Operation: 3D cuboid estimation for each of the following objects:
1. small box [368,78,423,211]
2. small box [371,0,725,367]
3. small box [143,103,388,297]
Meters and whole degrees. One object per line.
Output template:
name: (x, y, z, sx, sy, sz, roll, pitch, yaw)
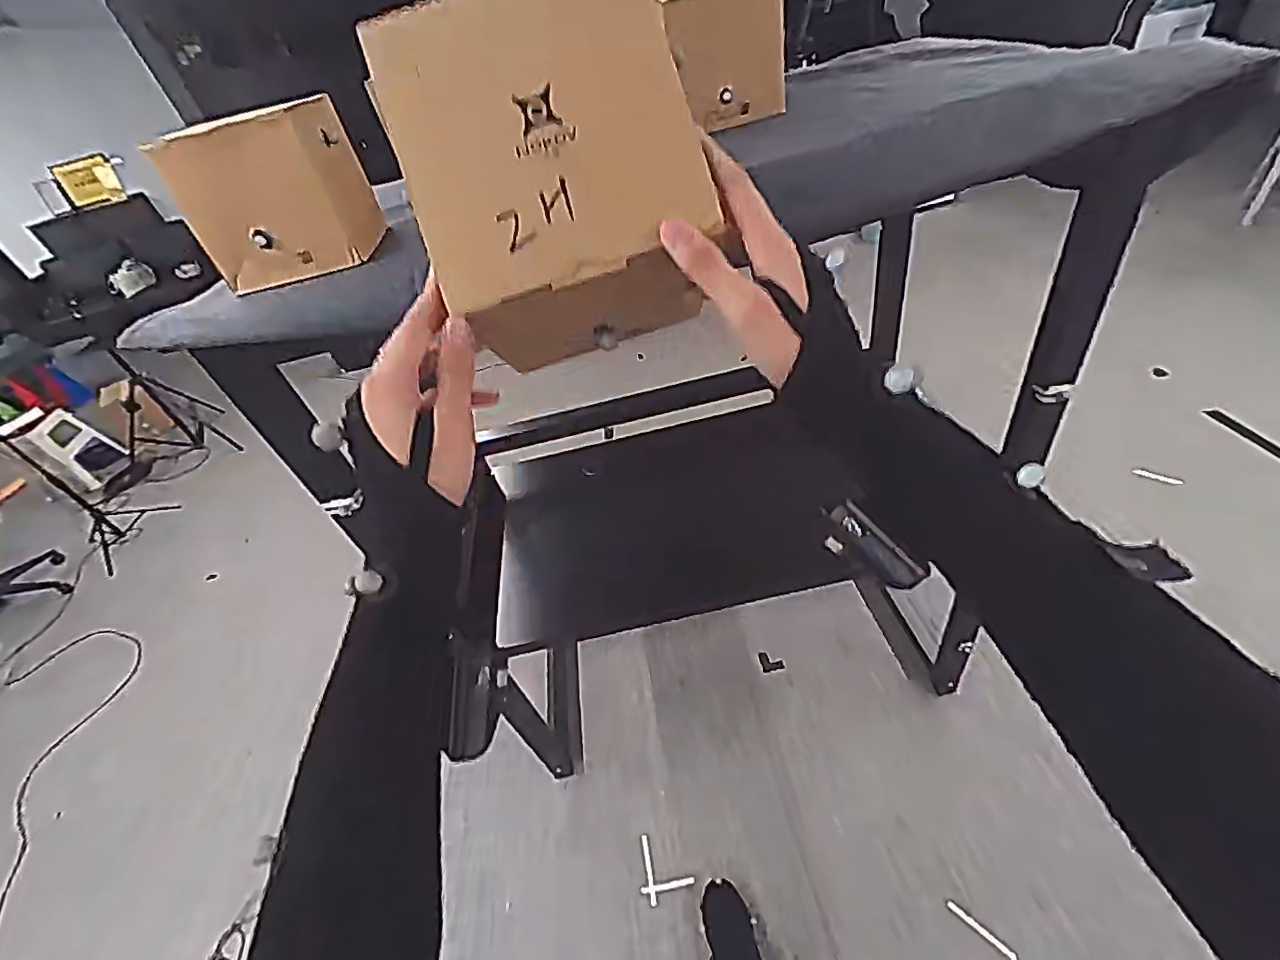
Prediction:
small box: (-0.288, -0.547, 0.851, 0.179, 0.176, 0.168, -15, 41, -1)
small box: (-0.053, -0.200, 0.387, 0.168, 0.179, 0.176, -17, 0, 1)
small box: (-0.444, -0.353, 0.683, 0.168, 0.176, 0.179, -15, 41, -1)
